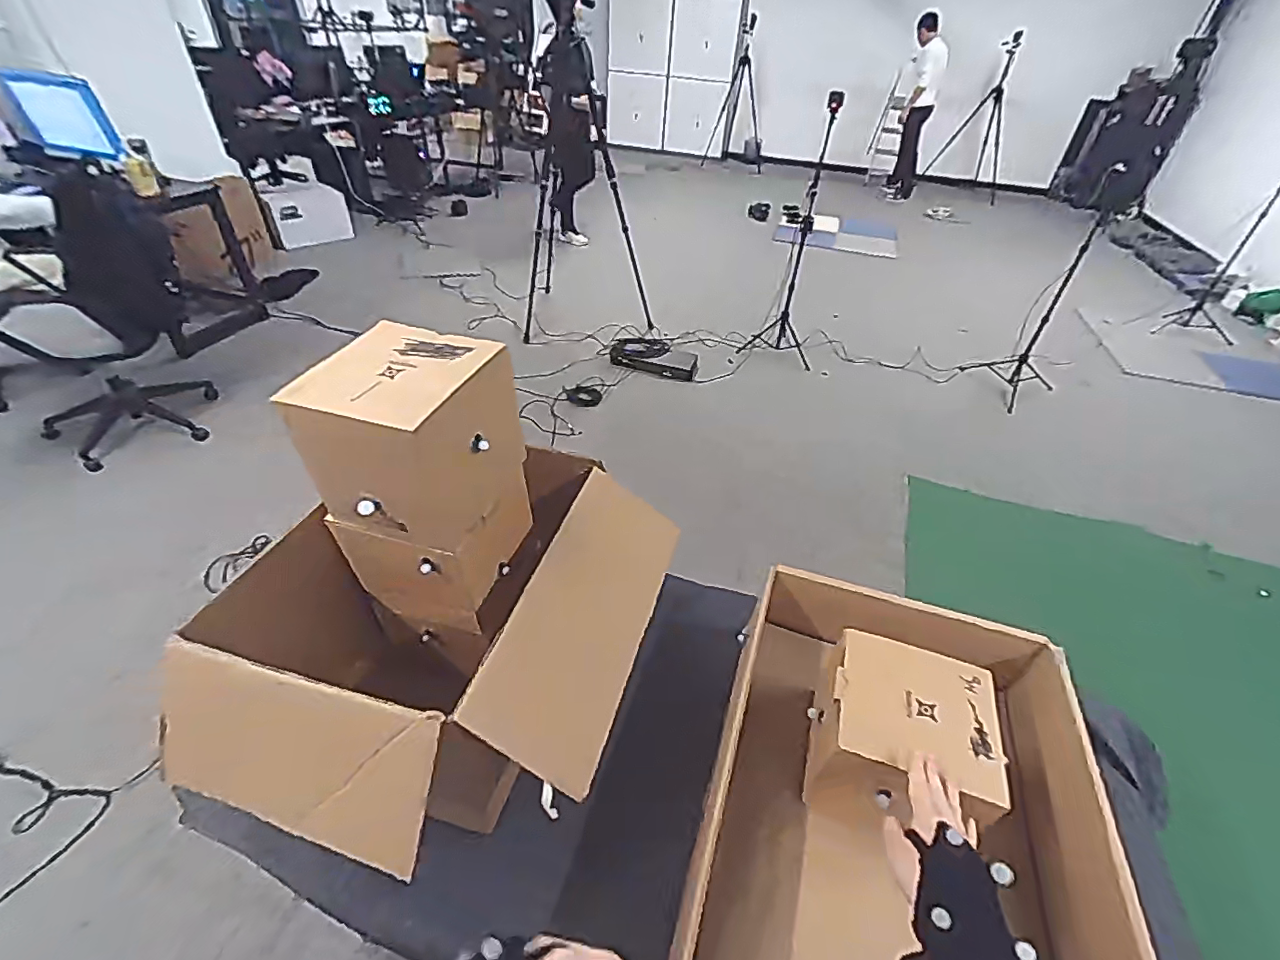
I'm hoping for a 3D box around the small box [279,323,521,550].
[{"bbox_3d":[-0.249,-0.052,0.615,0.168,0.176,0.179,13,44,13],"label":"small box"}]
